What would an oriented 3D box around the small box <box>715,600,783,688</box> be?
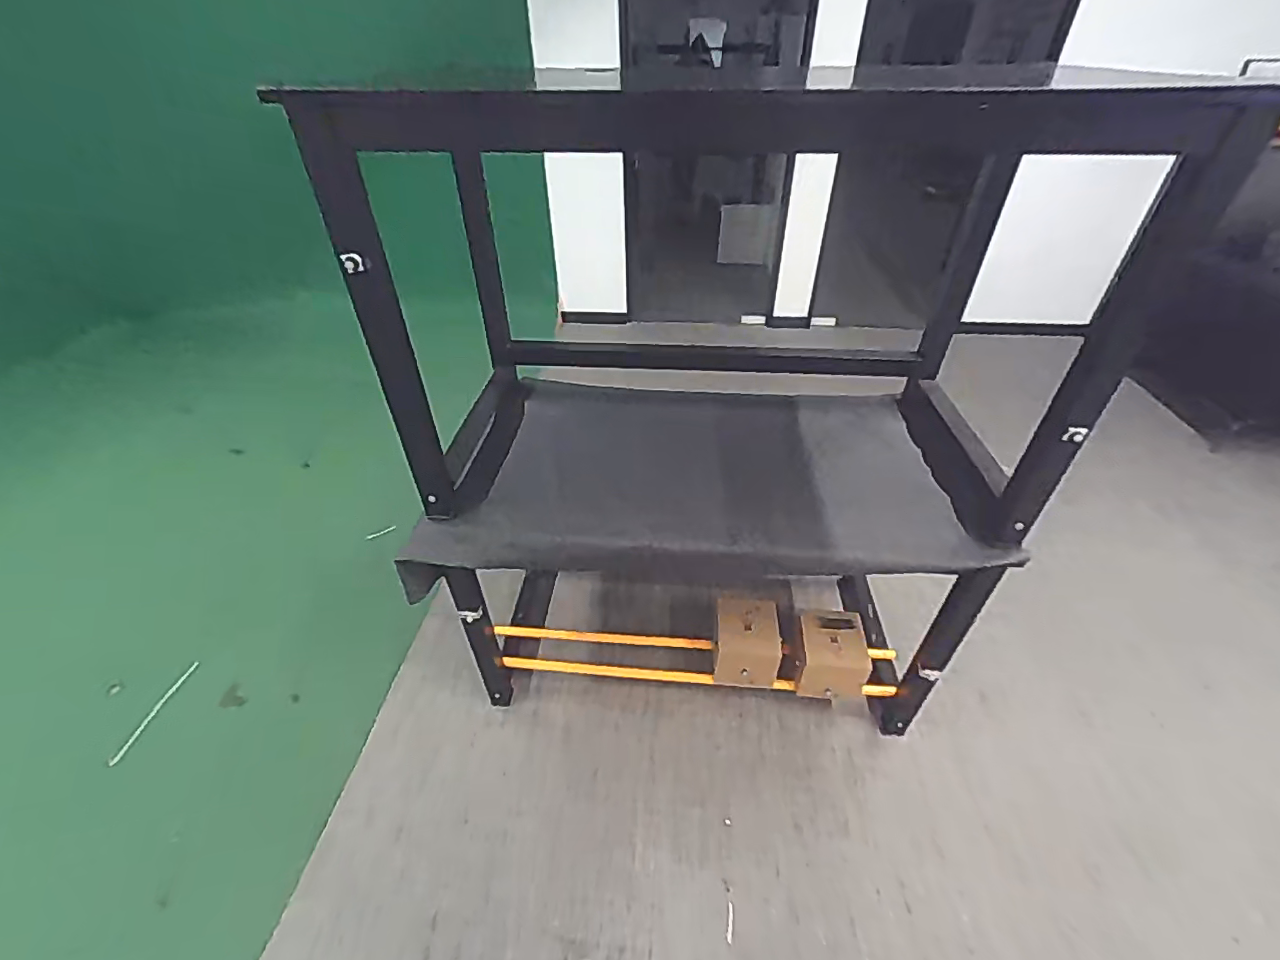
[{"bbox_3d":[0.301,0.462,1.516,0.168,0.176,0.179,3,40,4],"label":"small box"}]
